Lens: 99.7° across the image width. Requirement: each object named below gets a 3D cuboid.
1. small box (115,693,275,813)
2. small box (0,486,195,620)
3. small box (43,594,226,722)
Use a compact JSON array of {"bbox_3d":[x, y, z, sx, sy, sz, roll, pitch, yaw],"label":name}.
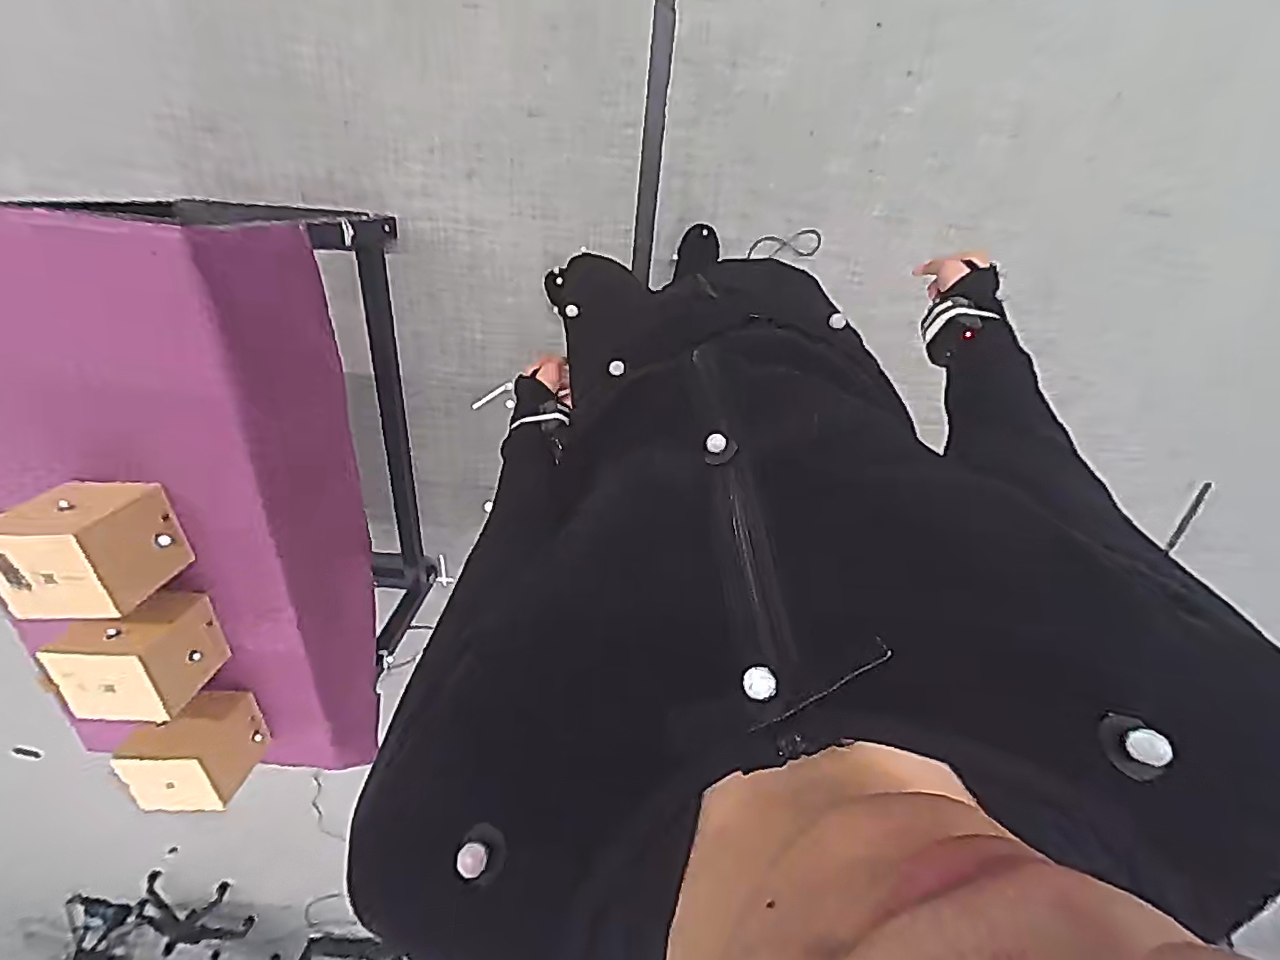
[{"bbox_3d":[-0.937,0.578,1.158,0.179,0.176,0.168,1,118,1],"label":"small box"},{"bbox_3d":[-0.928,0.119,0.922,0.179,0.176,0.168,0,117,1],"label":"small box"},{"bbox_3d":[-0.939,0.334,1.032,0.179,0.176,0.168,3,117,0],"label":"small box"}]
